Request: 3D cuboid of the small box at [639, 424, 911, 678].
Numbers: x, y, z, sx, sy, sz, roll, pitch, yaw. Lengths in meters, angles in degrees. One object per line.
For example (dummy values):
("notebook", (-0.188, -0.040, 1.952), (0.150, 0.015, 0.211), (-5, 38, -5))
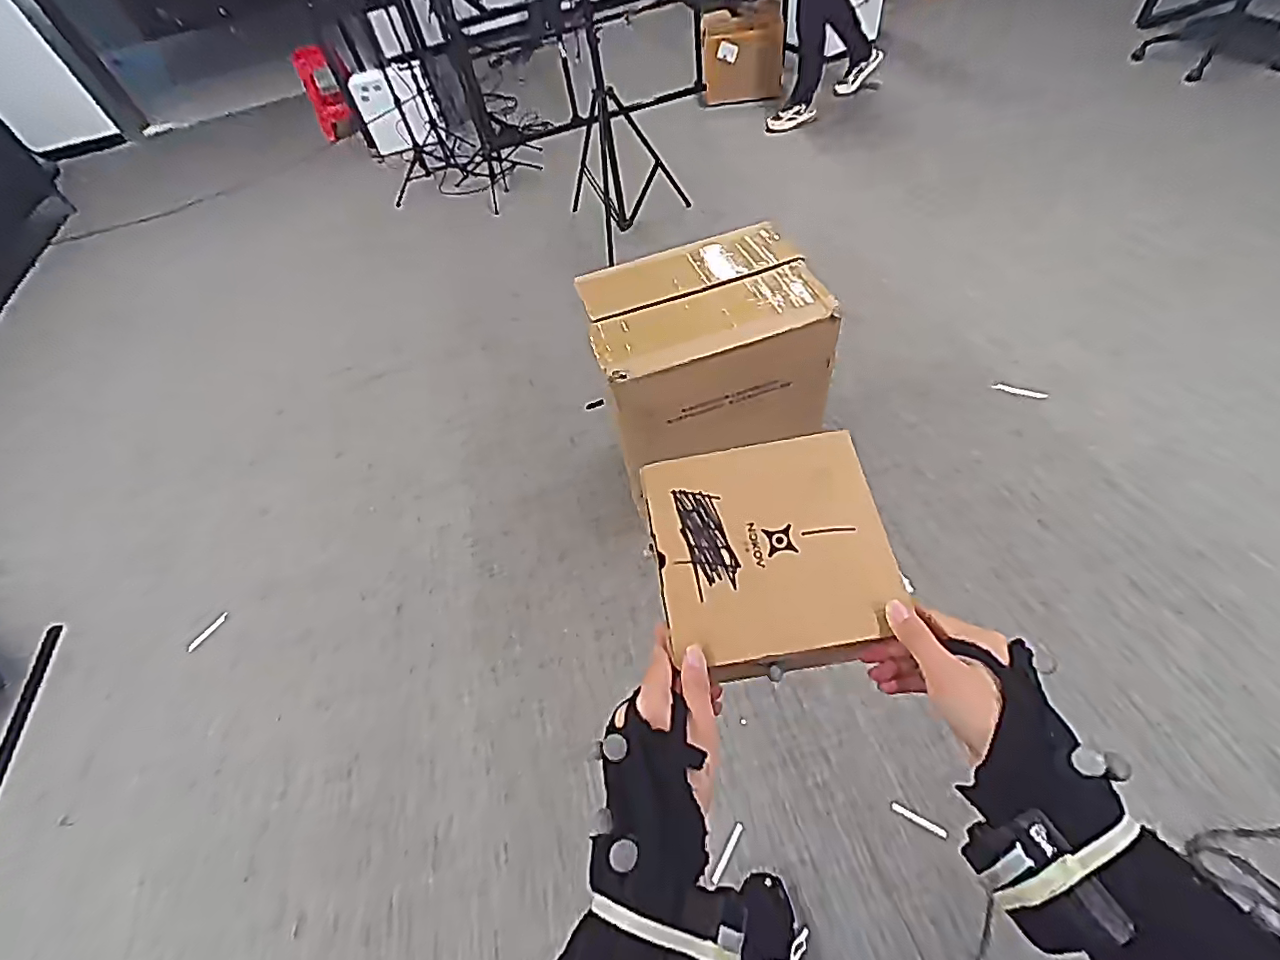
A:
("small box", (0.102, 0.074, 0.485), (0.179, 0.176, 0.168), (-10, 64, 1))
